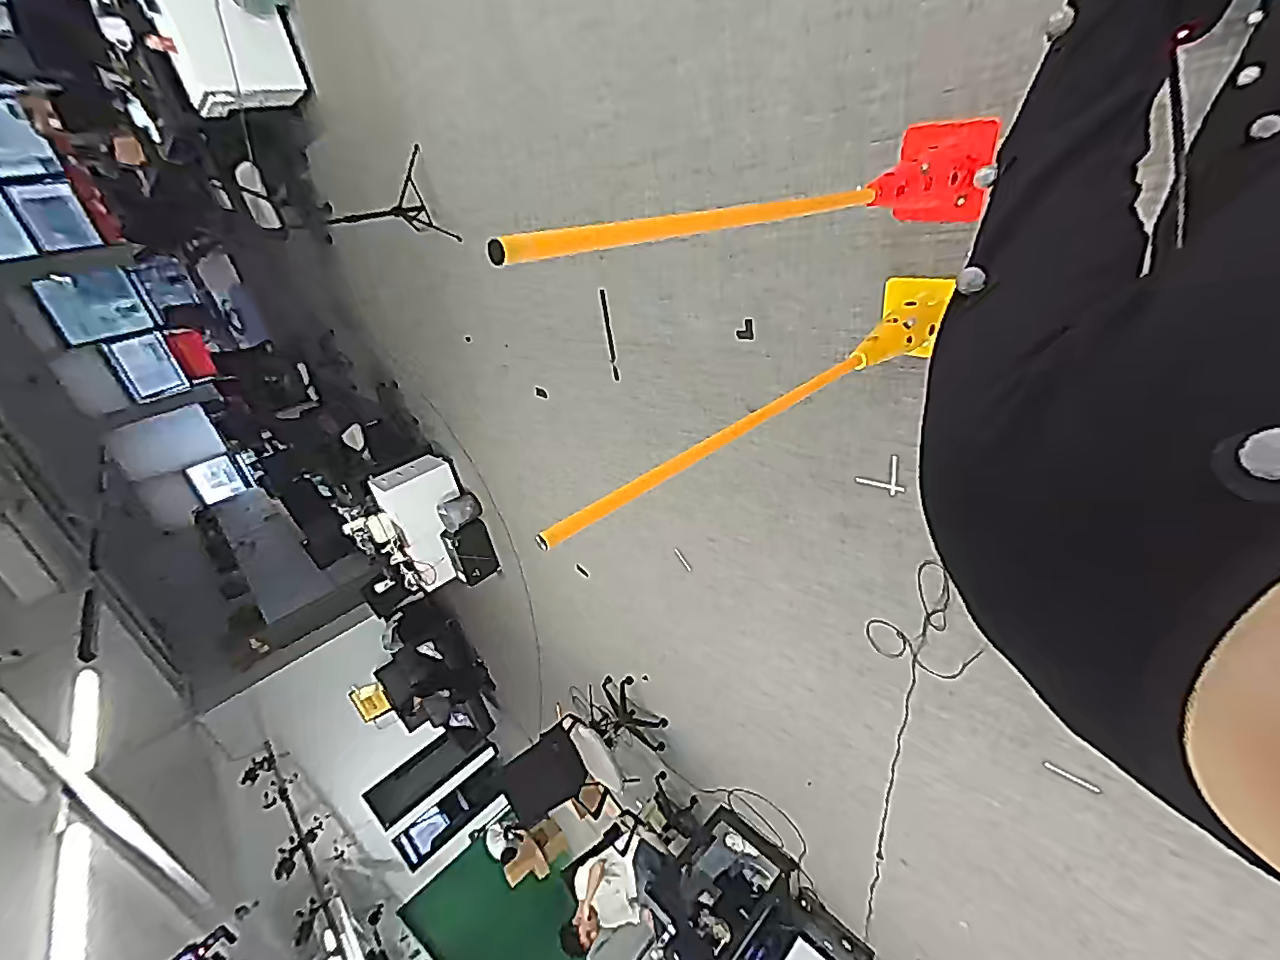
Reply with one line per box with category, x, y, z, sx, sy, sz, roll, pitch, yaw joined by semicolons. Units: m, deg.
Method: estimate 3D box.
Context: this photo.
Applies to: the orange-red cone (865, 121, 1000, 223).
orange-red cone;0.567;-0.625;1.130;0.198;0.360;0.199;26;133;38
